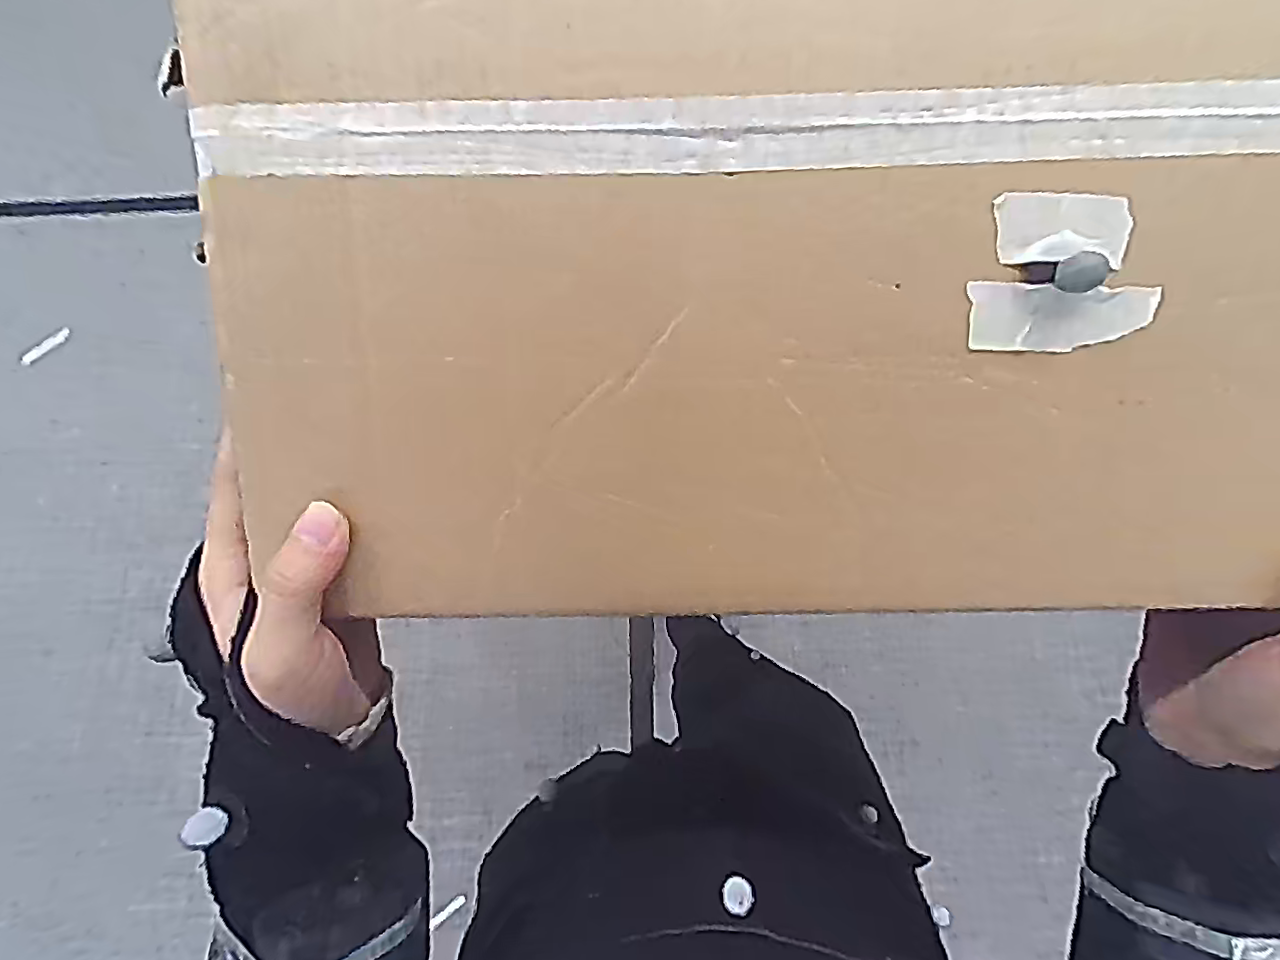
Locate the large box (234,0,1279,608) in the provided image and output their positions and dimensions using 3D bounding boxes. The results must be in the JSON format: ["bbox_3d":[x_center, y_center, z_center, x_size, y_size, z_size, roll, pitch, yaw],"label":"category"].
[{"bbox_3d":[0.063,-0.129,0.331,0.408,0.320,0.320,-2,98,-1],"label":"large box"}]
